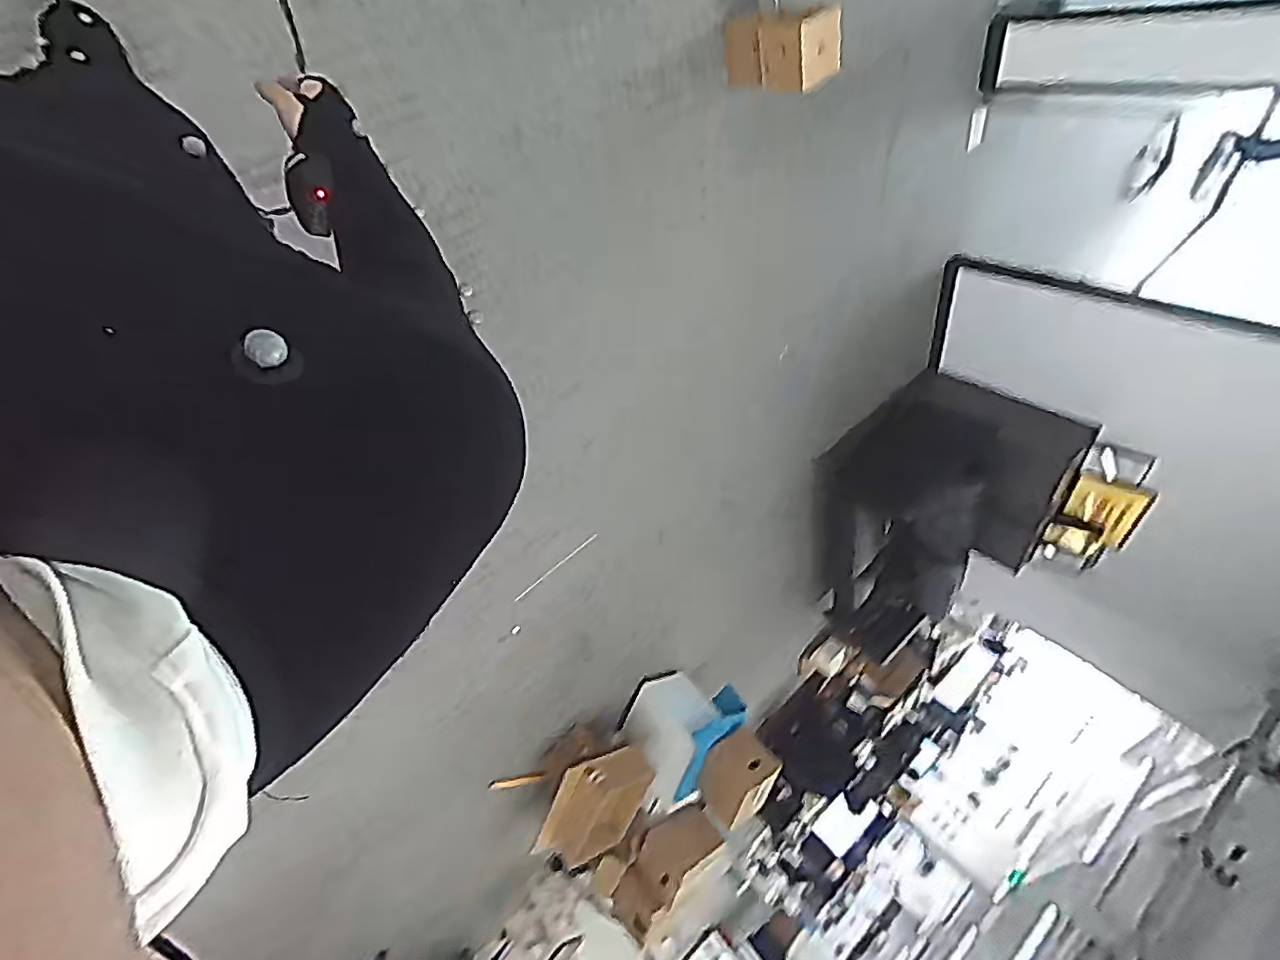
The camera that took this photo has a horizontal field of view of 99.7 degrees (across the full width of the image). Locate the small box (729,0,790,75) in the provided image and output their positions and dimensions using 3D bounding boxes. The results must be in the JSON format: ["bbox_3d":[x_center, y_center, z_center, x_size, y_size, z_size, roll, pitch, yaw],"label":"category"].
[{"bbox_3d":[0.399,-1.421,1.727,0.168,0.176,0.179,-37,139,-17],"label":"small box"}]

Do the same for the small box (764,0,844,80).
[{"bbox_3d":[0.487,-1.331,1.624,0.179,0.176,0.168,-40,139,-15],"label":"small box"}]
